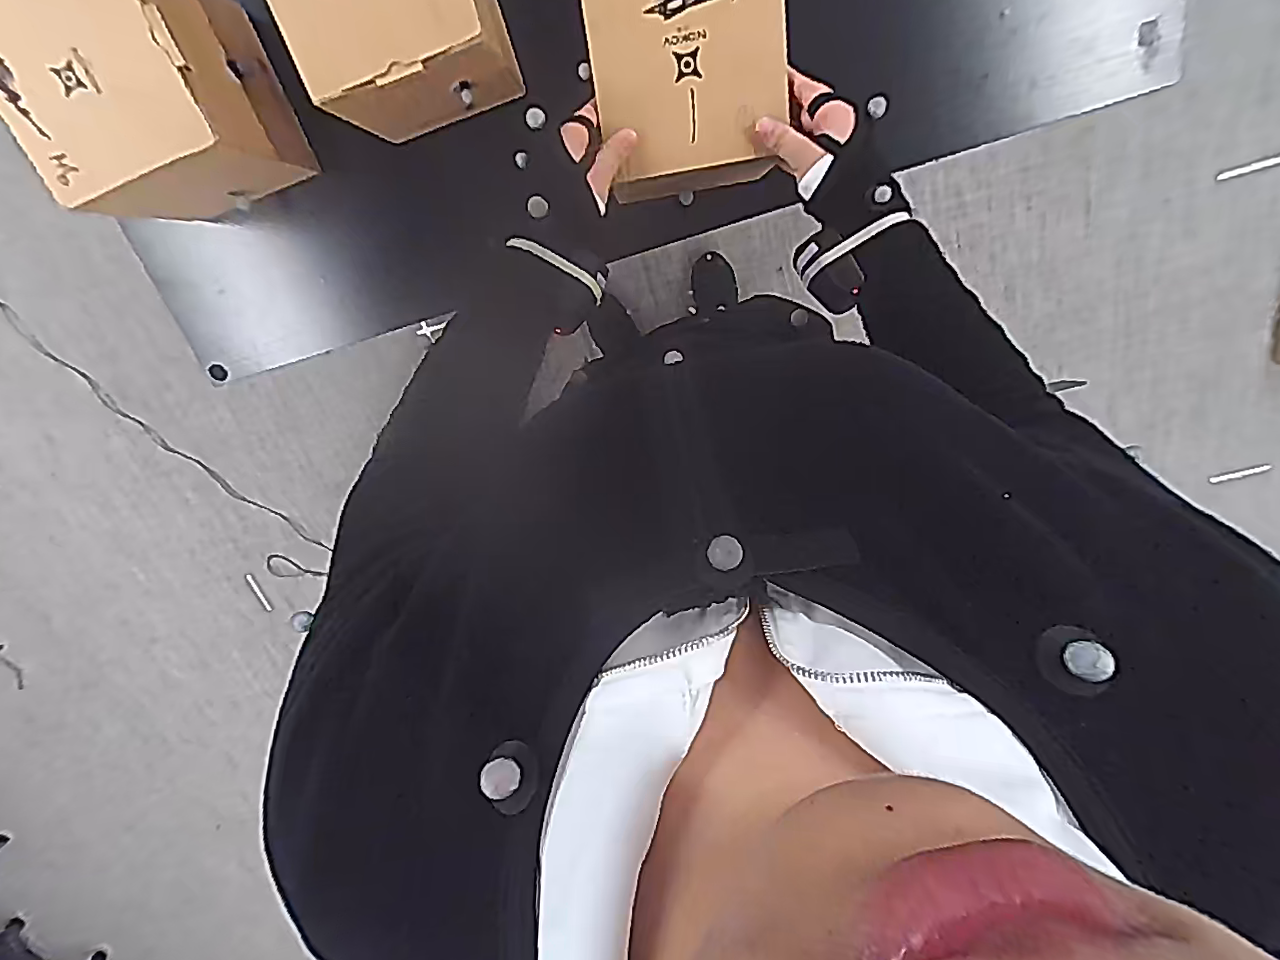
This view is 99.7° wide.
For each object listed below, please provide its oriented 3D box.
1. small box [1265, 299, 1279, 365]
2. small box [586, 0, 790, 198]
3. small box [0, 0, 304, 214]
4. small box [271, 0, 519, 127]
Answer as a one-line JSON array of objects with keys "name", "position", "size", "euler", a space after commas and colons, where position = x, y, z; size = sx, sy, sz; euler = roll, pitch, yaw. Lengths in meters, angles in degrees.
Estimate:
[{"name": "small box", "position": [1.681, -0.365, 1.299], "size": [0.168, 0.176, 0.179], "euler": [-14, 112, 8]}, {"name": "small box", "position": [0.042, -0.390, 0.526], "size": [0.168, 0.176, 0.179], "euler": [-7, 113, 4]}, {"name": "small box", "position": [-0.478, -0.383, 0.537], "size": [0.179, 0.176, 0.168], "euler": [-18, 110, 6]}, {"name": "small box", "position": [-0.229, -0.459, 0.505], "size": [0.168, 0.176, 0.179], "euler": [-16, 110, 6]}]
